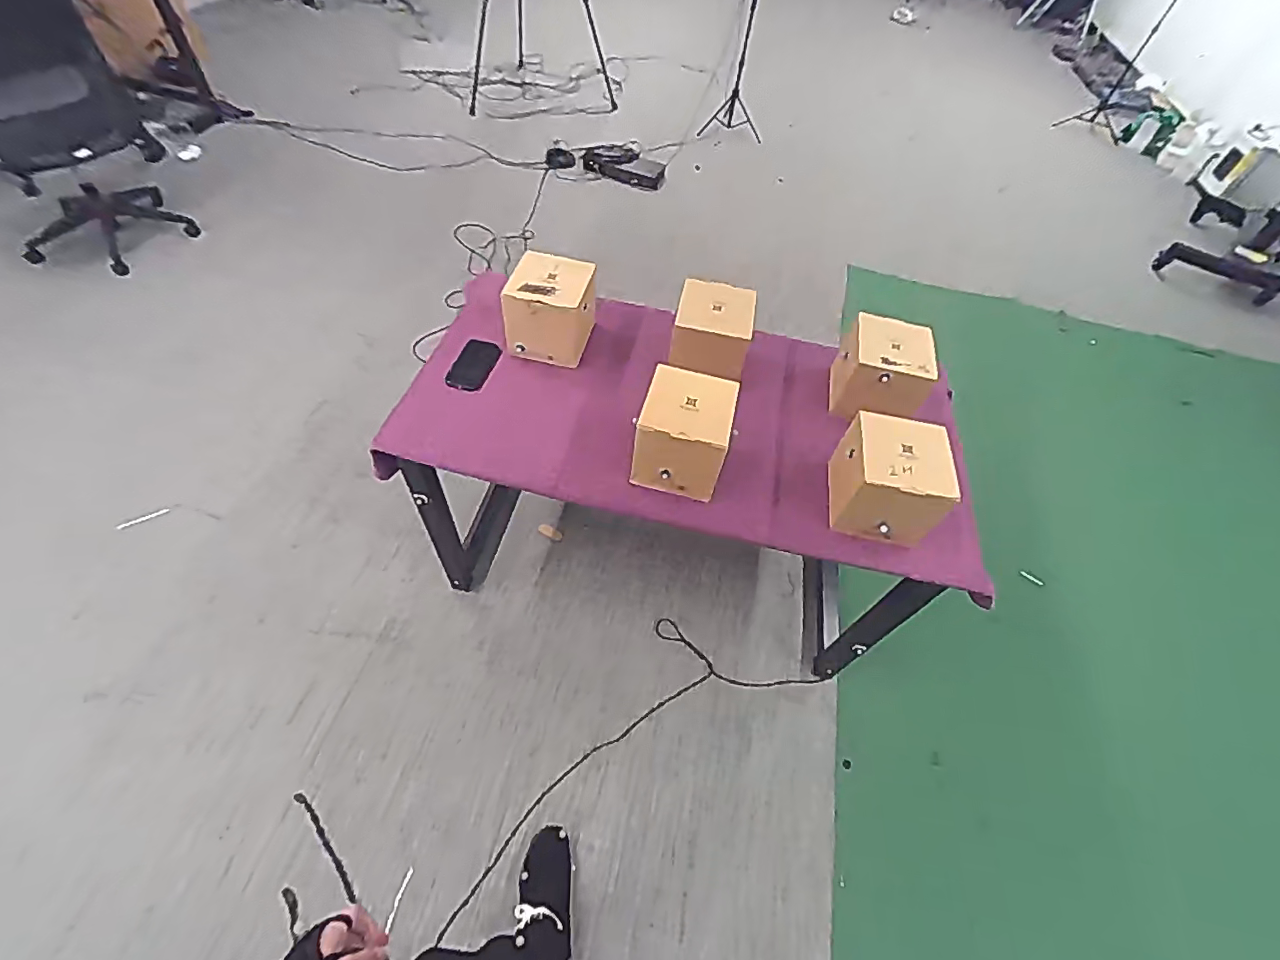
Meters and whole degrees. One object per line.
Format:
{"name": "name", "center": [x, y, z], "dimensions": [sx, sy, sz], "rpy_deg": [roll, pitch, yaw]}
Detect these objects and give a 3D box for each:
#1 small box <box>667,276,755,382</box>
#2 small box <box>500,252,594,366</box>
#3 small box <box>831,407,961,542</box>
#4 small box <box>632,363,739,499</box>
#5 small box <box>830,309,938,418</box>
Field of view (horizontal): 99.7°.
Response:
{"name": "small box", "center": [0.157, -0.331, 1.235], "dimensions": [0.168, 0.176, 0.179], "rpy_deg": [11, 55, 3]}
{"name": "small box", "center": [-0.204, -0.387, 1.236], "dimensions": [0.168, 0.176, 0.179], "rpy_deg": [12, 54, 2]}
{"name": "small box", "center": [0.472, -0.009, 1.028], "dimensions": [0.168, 0.176, 0.179], "rpy_deg": [11, 54, 4]}
{"name": "small box", "center": [0.085, -0.093, 1.055], "dimensions": [0.168, 0.176, 0.179], "rpy_deg": [14, 53, 4]}
{"name": "small box", "center": [0.537, -0.249, 1.212], "dimensions": [0.168, 0.176, 0.179], "rpy_deg": [13, 54, 5]}
